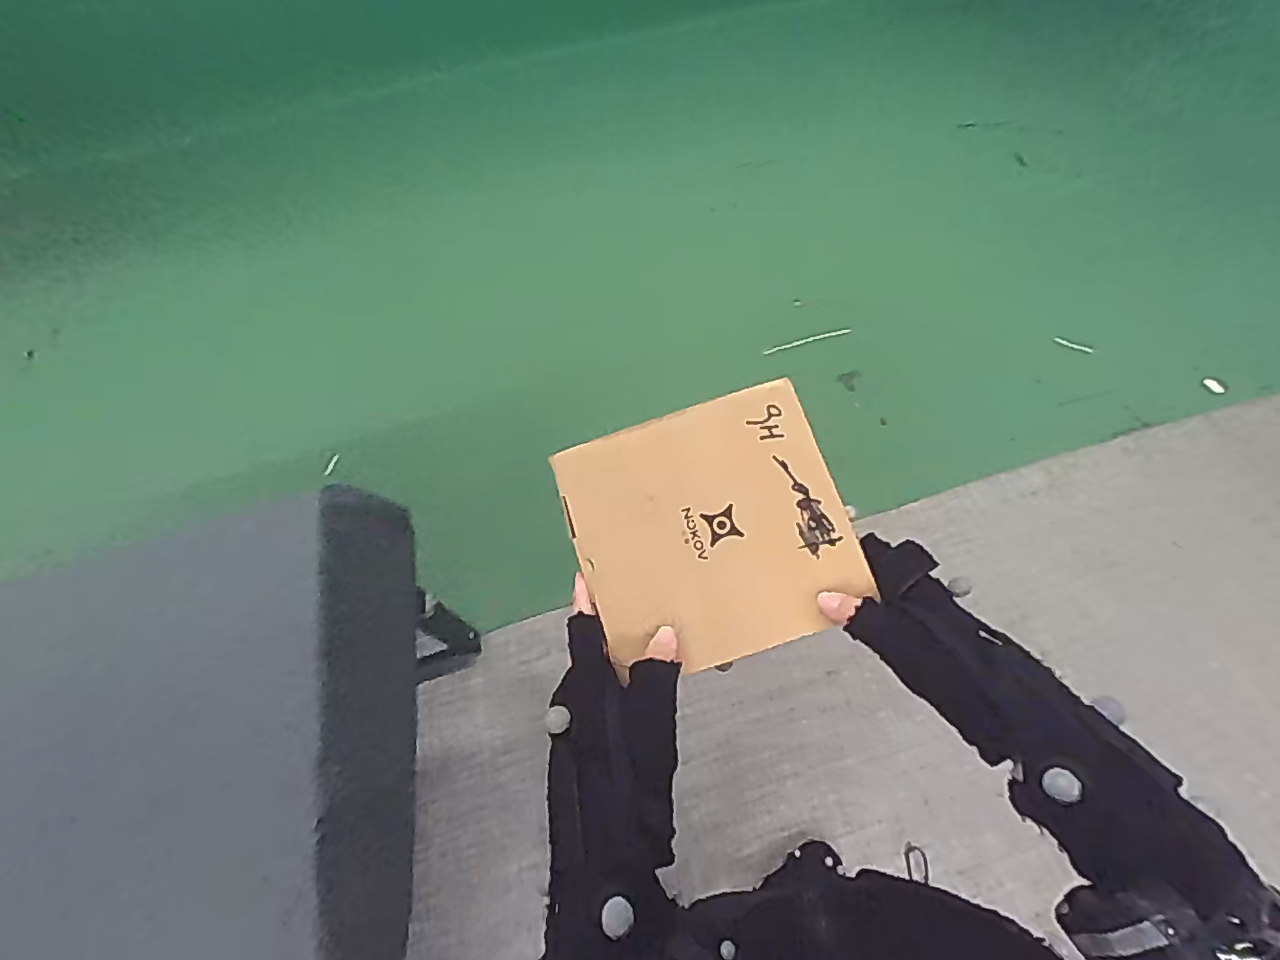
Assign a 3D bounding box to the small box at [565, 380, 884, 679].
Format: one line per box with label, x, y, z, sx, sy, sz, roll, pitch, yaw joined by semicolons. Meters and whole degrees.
small box;0.058;0.049;0.443;0.179;0.176;0.168;-20;75;-1
